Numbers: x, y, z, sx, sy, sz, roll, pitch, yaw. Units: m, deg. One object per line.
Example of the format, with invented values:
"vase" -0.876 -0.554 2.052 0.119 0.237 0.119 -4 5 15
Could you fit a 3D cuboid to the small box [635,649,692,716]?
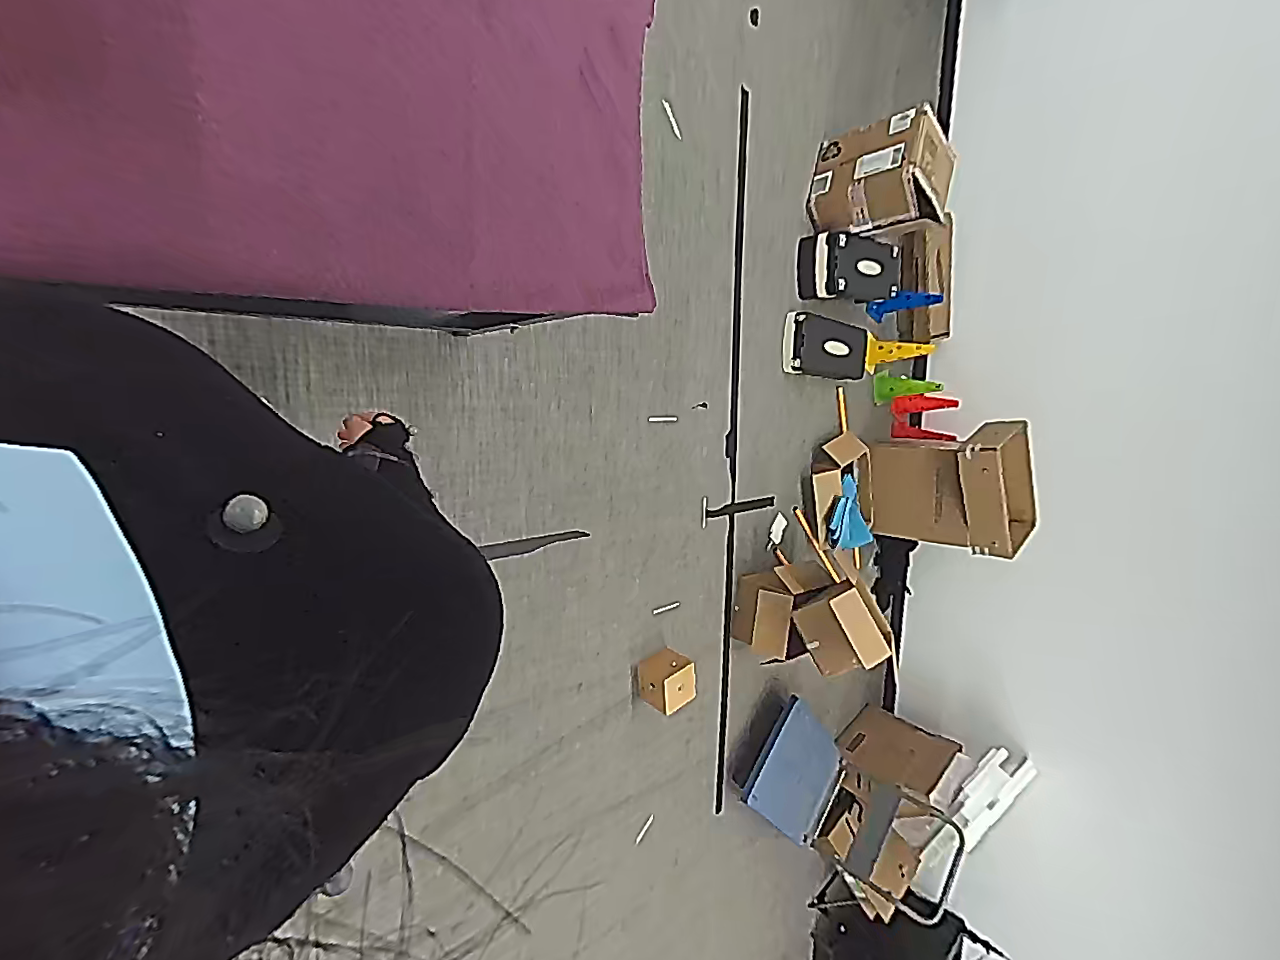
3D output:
"small box" 0.093 0.827 2.225 0.179 0.176 0.168 -16 108 -40
